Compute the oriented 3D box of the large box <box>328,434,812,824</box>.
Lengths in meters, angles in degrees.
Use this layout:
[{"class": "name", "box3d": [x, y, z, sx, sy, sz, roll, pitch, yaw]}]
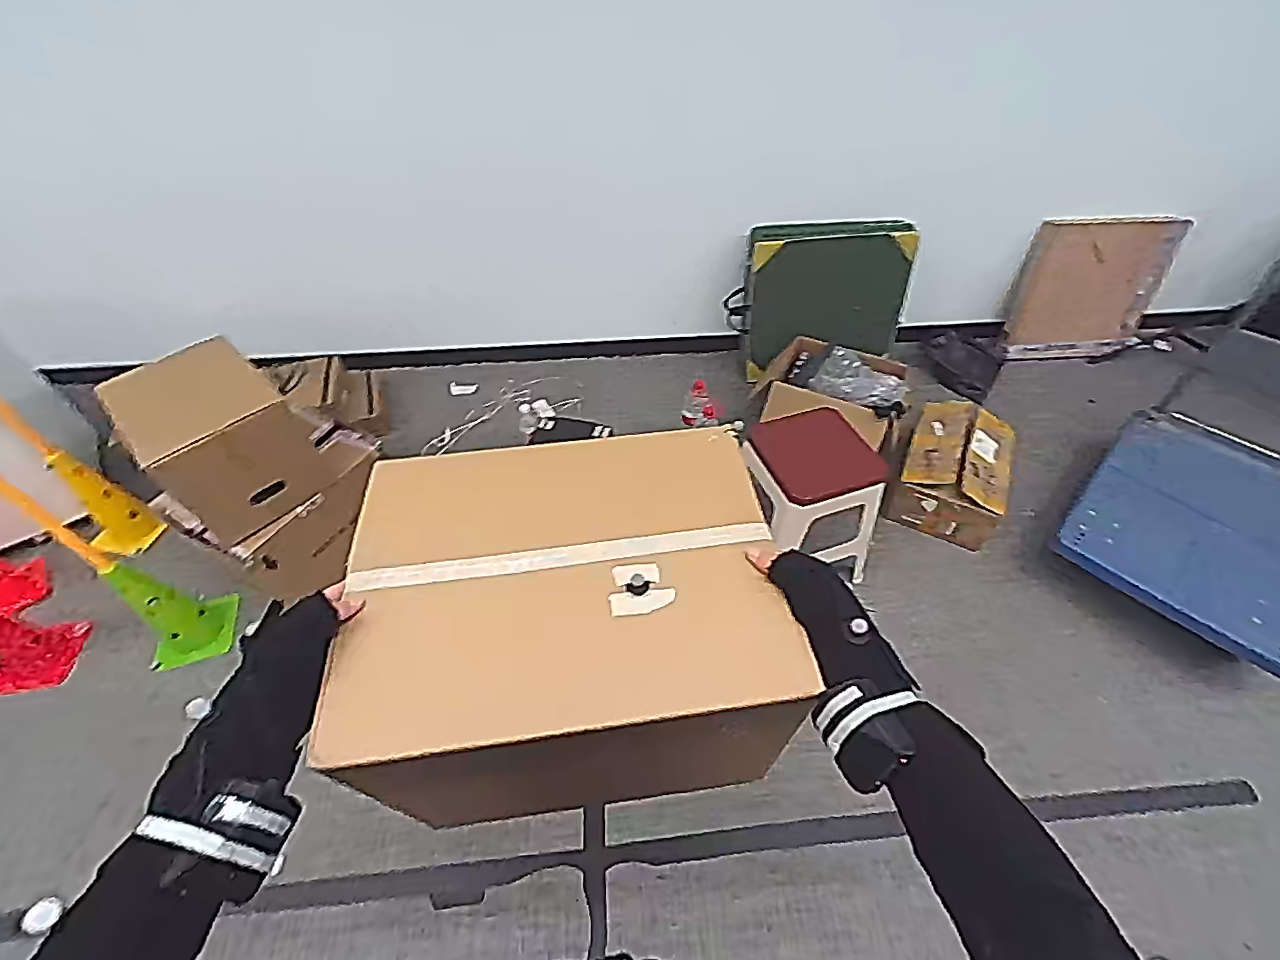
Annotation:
[{"class": "large box", "box3d": [-0.070, 0.177, 0.644, 0.408, 0.320, 0.320, -6, 50, -5]}]
